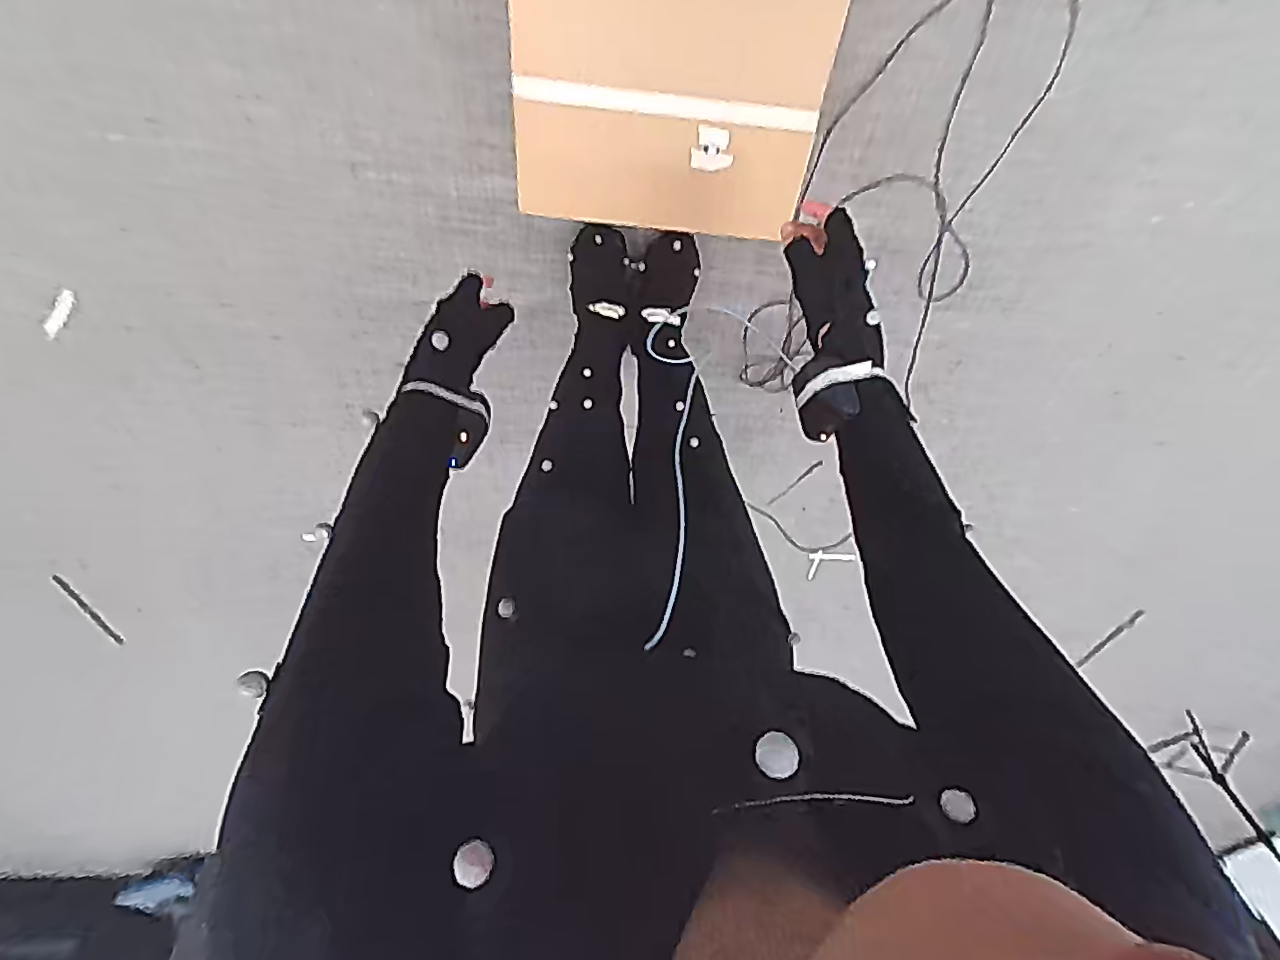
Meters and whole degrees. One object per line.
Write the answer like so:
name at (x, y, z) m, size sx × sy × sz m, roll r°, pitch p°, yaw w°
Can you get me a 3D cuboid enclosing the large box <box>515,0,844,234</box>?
large box at (0.035, -0.601, 0.832) m, size 0.408 × 0.320 × 0.320 m, roll 4°, pitch 131°, yaw -5°
